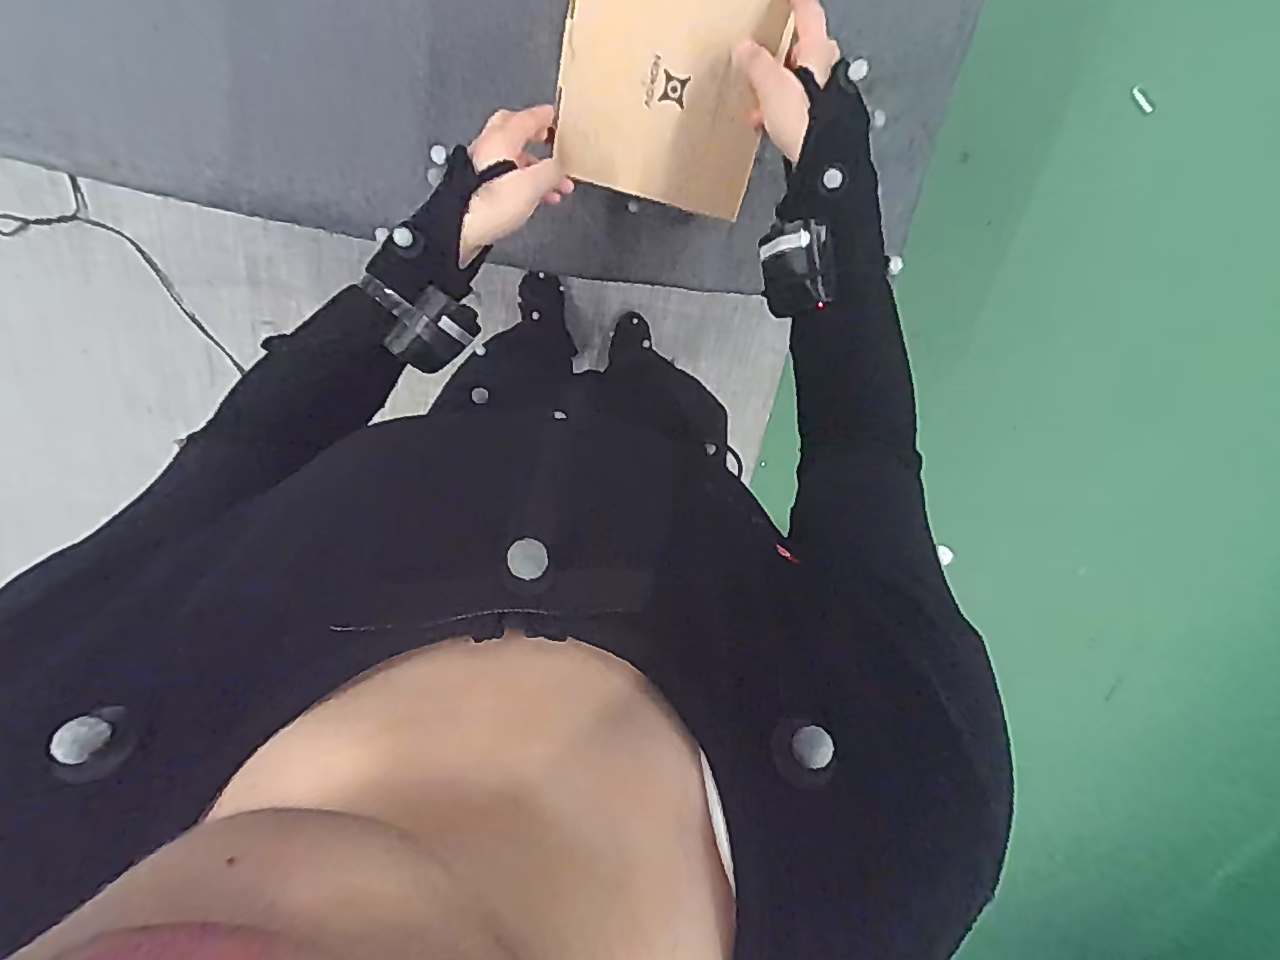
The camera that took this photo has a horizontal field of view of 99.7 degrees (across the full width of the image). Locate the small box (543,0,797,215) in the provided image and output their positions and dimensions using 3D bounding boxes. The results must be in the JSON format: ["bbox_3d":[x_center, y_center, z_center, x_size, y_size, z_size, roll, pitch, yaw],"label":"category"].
[{"bbox_3d":[0.012,-0.359,0.504,0.179,0.176,0.168,9,117,-12],"label":"small box"}]
